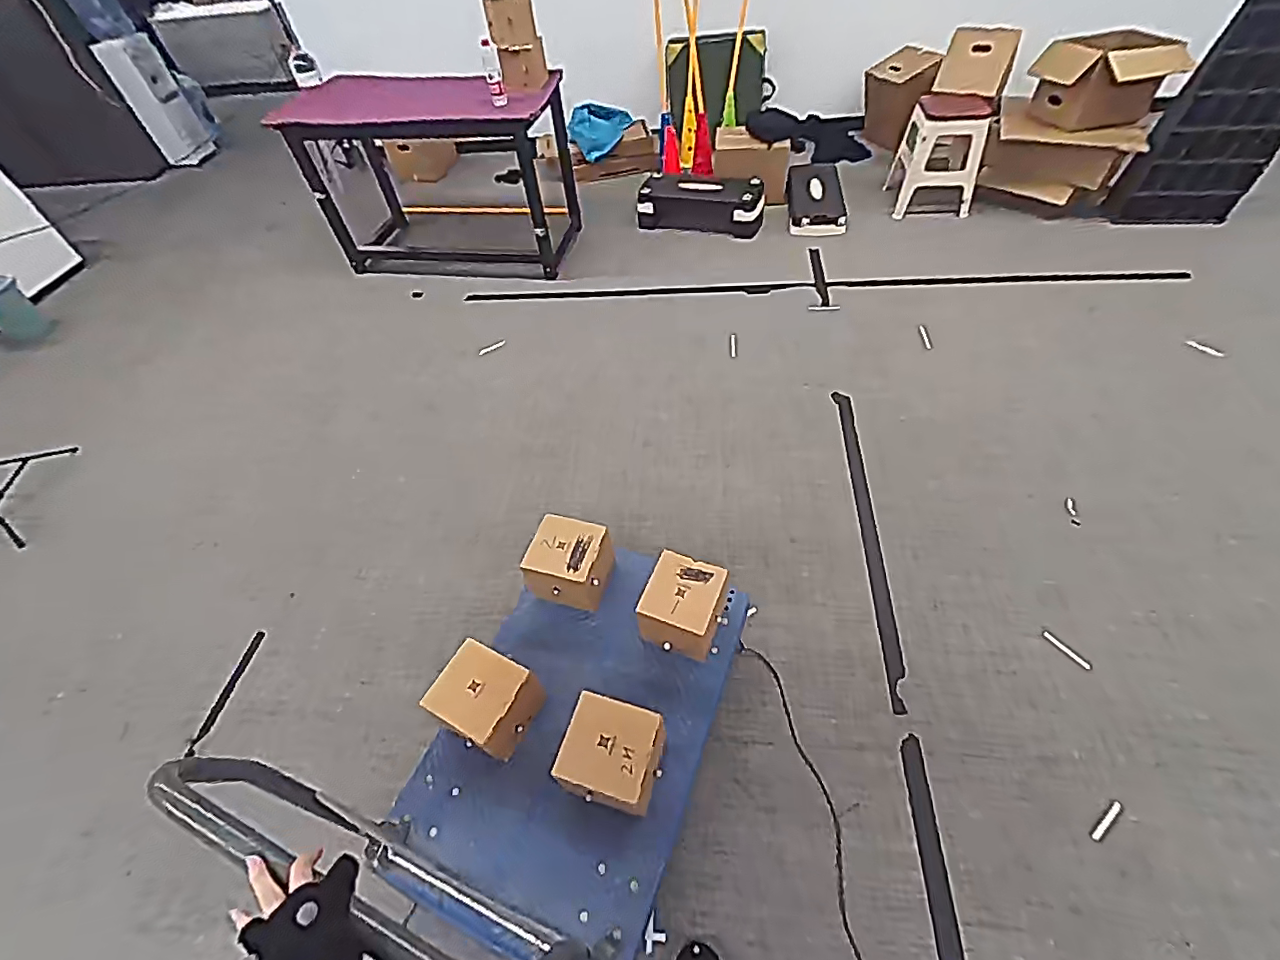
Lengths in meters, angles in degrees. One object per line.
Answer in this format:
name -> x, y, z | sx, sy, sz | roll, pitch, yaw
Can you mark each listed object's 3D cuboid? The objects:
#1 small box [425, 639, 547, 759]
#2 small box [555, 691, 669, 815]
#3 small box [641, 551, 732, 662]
small box -> -0.333, 0.491, 1.201 | 0.179, 0.176, 0.168 | 21, 55, 19
small box -> -0.048, 0.563, 1.108 | 0.179, 0.176, 0.168 | 11, 53, 15
small box -> 0.113, 0.306, 1.302 | 0.168, 0.176, 0.179 | 16, 55, 19
